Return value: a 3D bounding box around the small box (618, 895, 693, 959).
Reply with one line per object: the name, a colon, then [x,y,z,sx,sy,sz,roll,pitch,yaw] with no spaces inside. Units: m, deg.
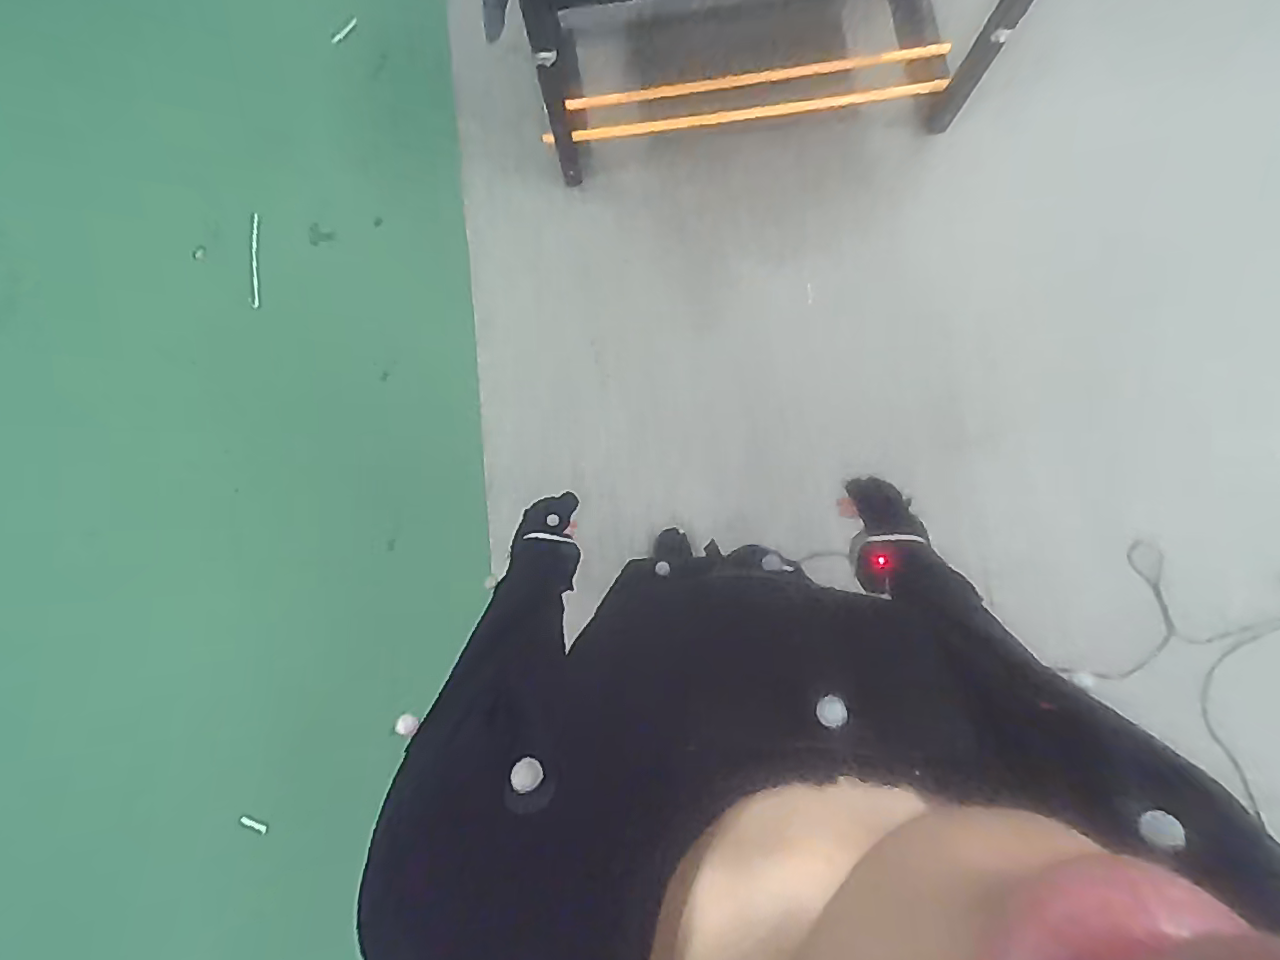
small box: [0.039,1.109,1.266,0.168,0.176,0.179,-5,82,1]
